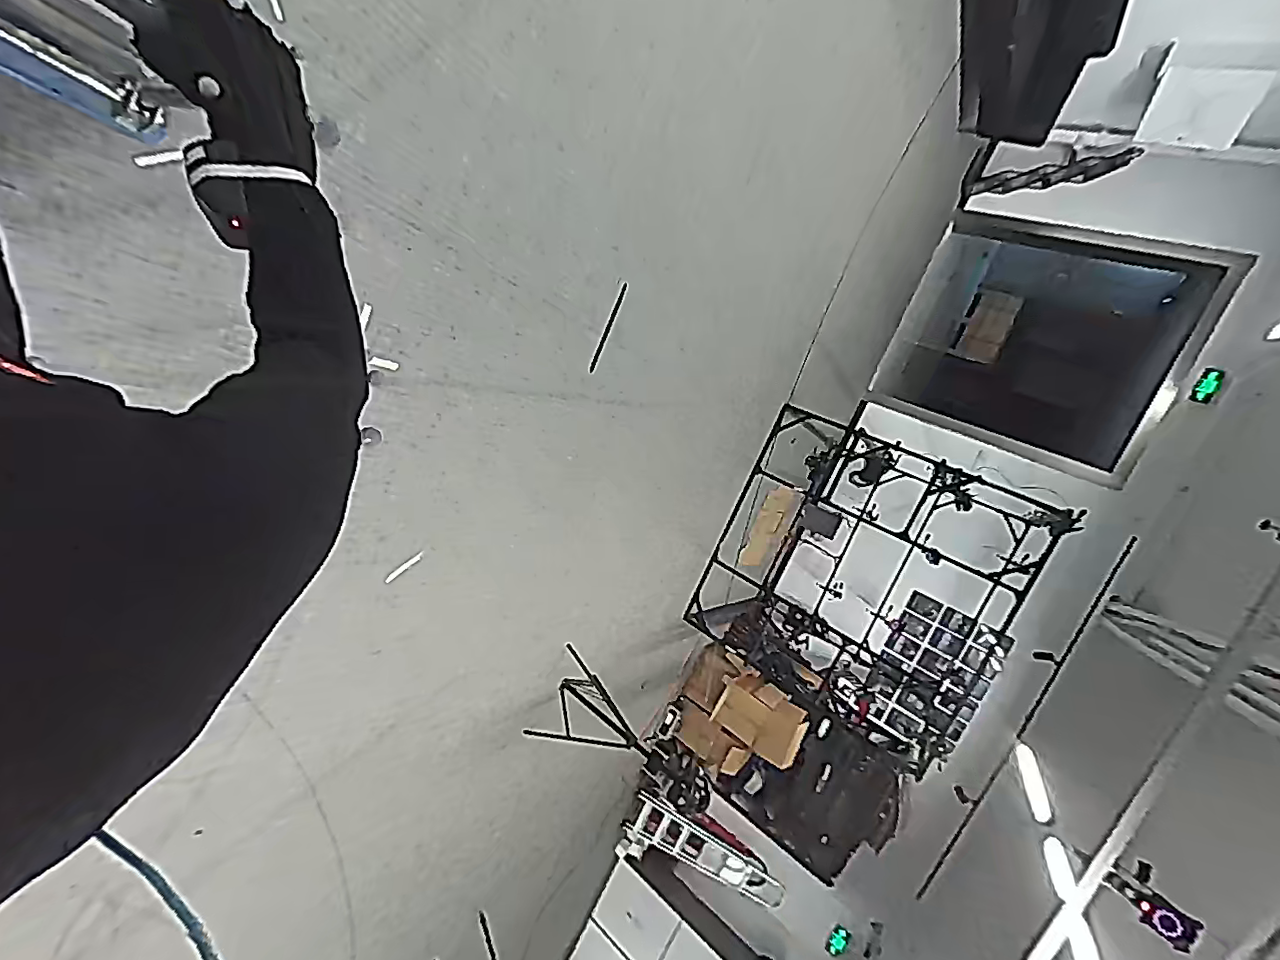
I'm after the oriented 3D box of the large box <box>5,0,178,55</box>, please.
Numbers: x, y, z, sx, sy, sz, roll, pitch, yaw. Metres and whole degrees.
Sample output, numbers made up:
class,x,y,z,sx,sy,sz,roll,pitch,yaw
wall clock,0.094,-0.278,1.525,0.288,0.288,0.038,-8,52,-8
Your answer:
class,x,y,z,sx,sy,sz,roll,pitch,yaw
large box,-0.748,-0.744,0.552,0.408,0.320,0.320,13,104,-62
